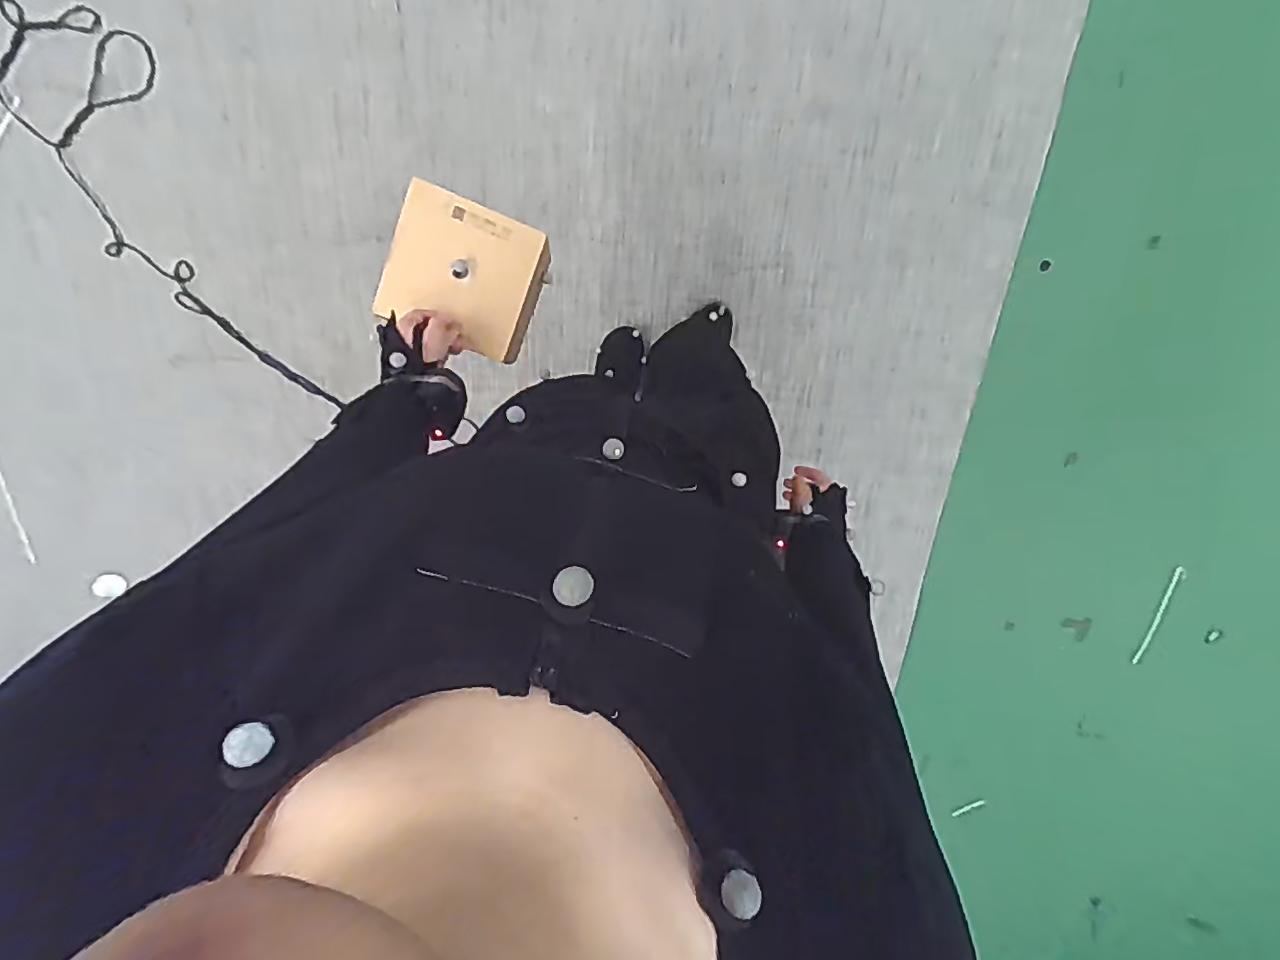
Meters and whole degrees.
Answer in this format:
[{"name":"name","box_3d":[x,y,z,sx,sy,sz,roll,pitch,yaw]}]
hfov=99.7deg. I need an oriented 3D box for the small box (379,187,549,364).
[{"name":"small box","box_3d":[-0.228,-0.267,0.736,0.168,0.179,0.176,18,99,-12]}]
